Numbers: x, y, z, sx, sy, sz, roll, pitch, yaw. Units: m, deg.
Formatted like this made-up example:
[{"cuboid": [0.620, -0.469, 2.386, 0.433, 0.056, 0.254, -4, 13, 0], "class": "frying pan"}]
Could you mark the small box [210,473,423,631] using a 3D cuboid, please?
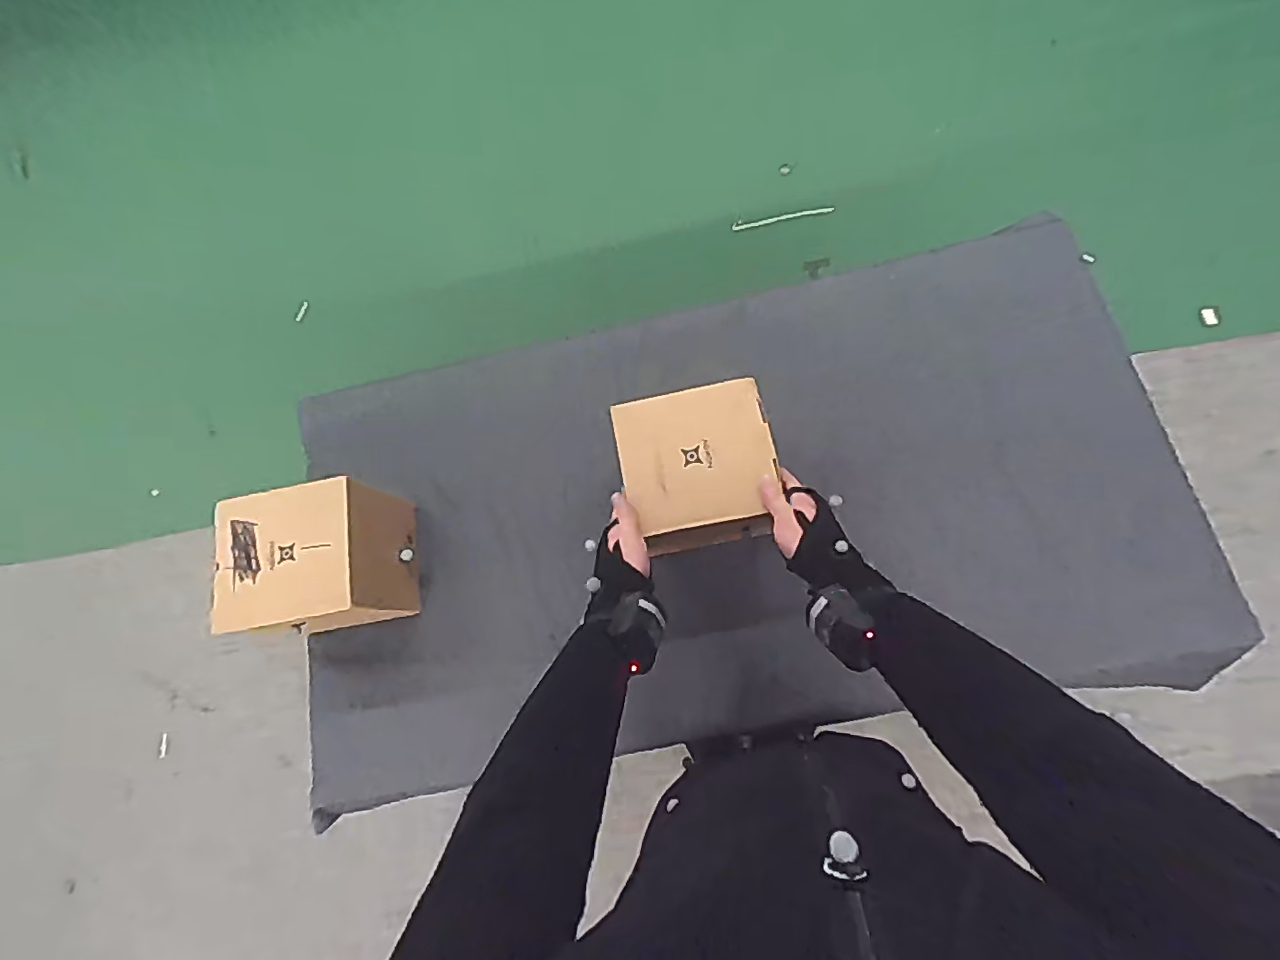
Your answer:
[{"cuboid": [-0.409, 0.103, 0.709, 0.179, 0.176, 0.168, -10, 75, 2], "class": "small box"}]

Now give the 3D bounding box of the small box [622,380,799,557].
[{"cuboid": [0.084, -0.004, 0.686, 0.179, 0.176, 0.168, -12, 74, 4], "class": "small box"}]
